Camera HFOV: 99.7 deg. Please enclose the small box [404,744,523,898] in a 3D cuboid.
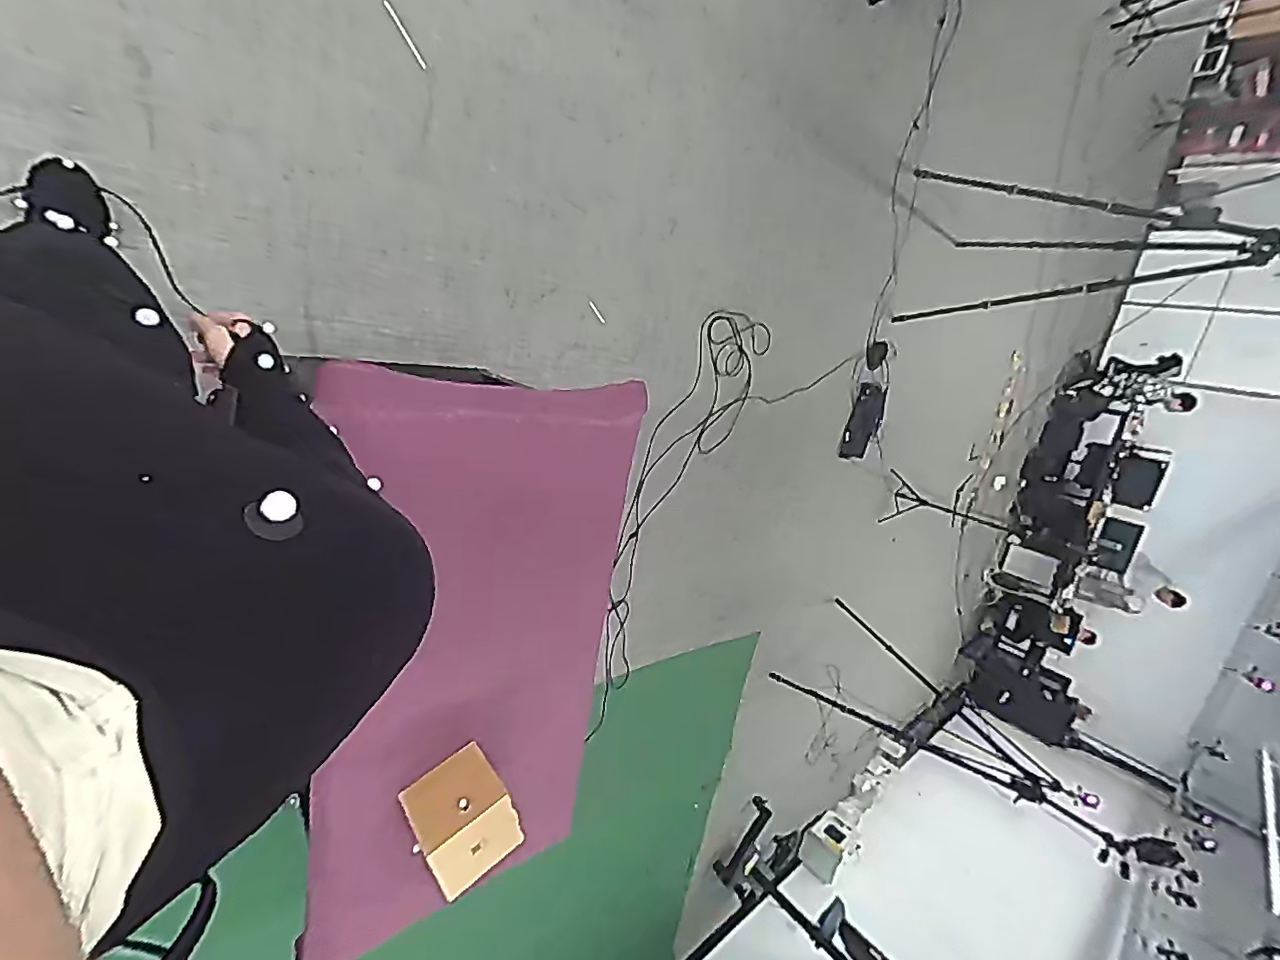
[{"bbox_3d":[-0.377,0.709,1.141,0.179,0.176,0.168,-27,124,-32],"label":"small box"}]
